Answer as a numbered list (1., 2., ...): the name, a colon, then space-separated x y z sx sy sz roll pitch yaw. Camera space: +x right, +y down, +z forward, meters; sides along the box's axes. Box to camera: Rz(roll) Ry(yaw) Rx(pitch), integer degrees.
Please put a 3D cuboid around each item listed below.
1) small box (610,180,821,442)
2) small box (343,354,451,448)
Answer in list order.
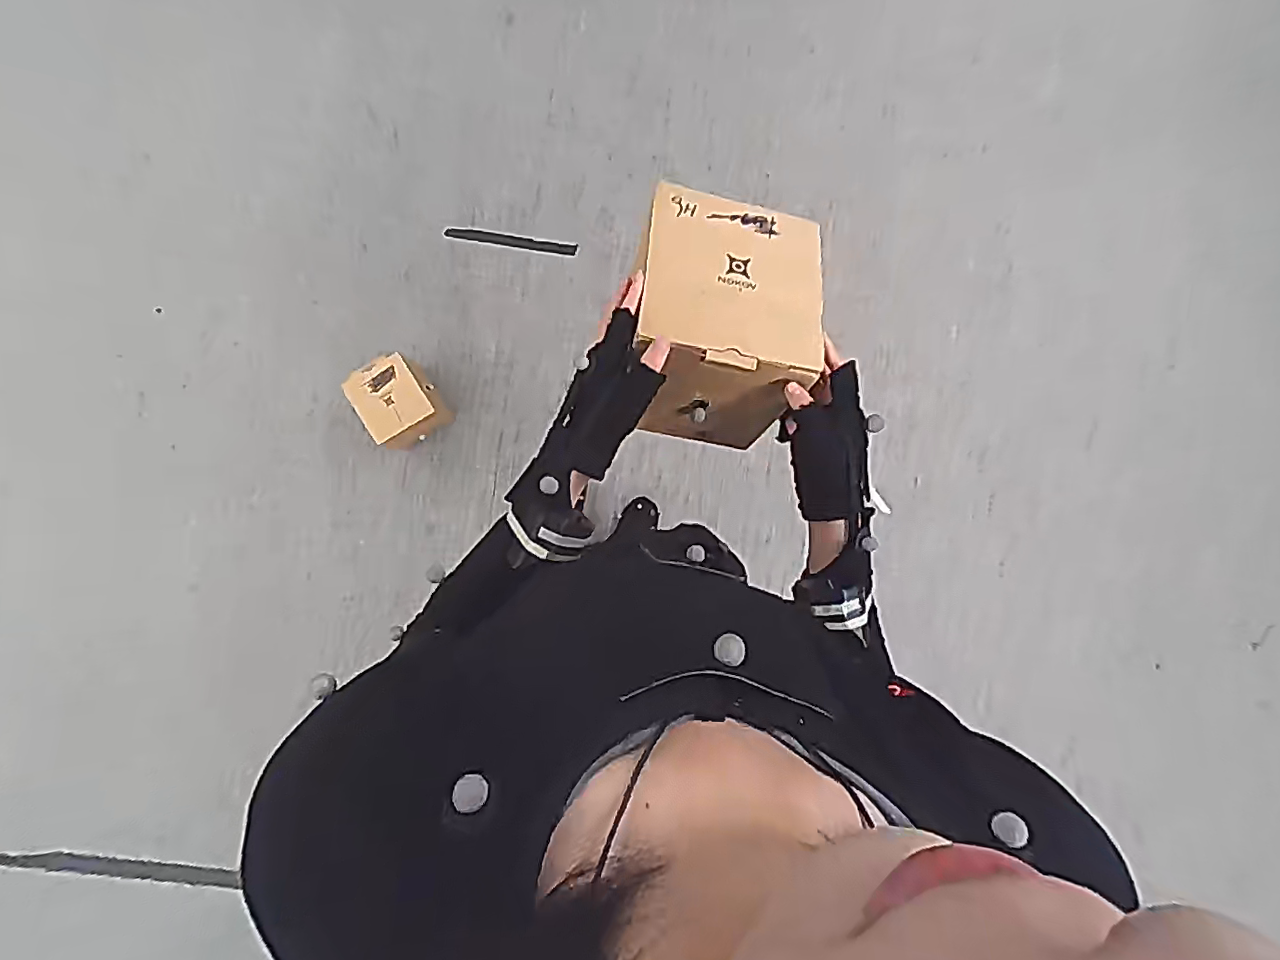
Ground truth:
1. small box: 0.067 -0.155 0.551 0.168 0.176 0.179 9 69 -10
2. small box: -0.622 -0.197 1.405 0.168 0.176 0.179 -31 93 -3
